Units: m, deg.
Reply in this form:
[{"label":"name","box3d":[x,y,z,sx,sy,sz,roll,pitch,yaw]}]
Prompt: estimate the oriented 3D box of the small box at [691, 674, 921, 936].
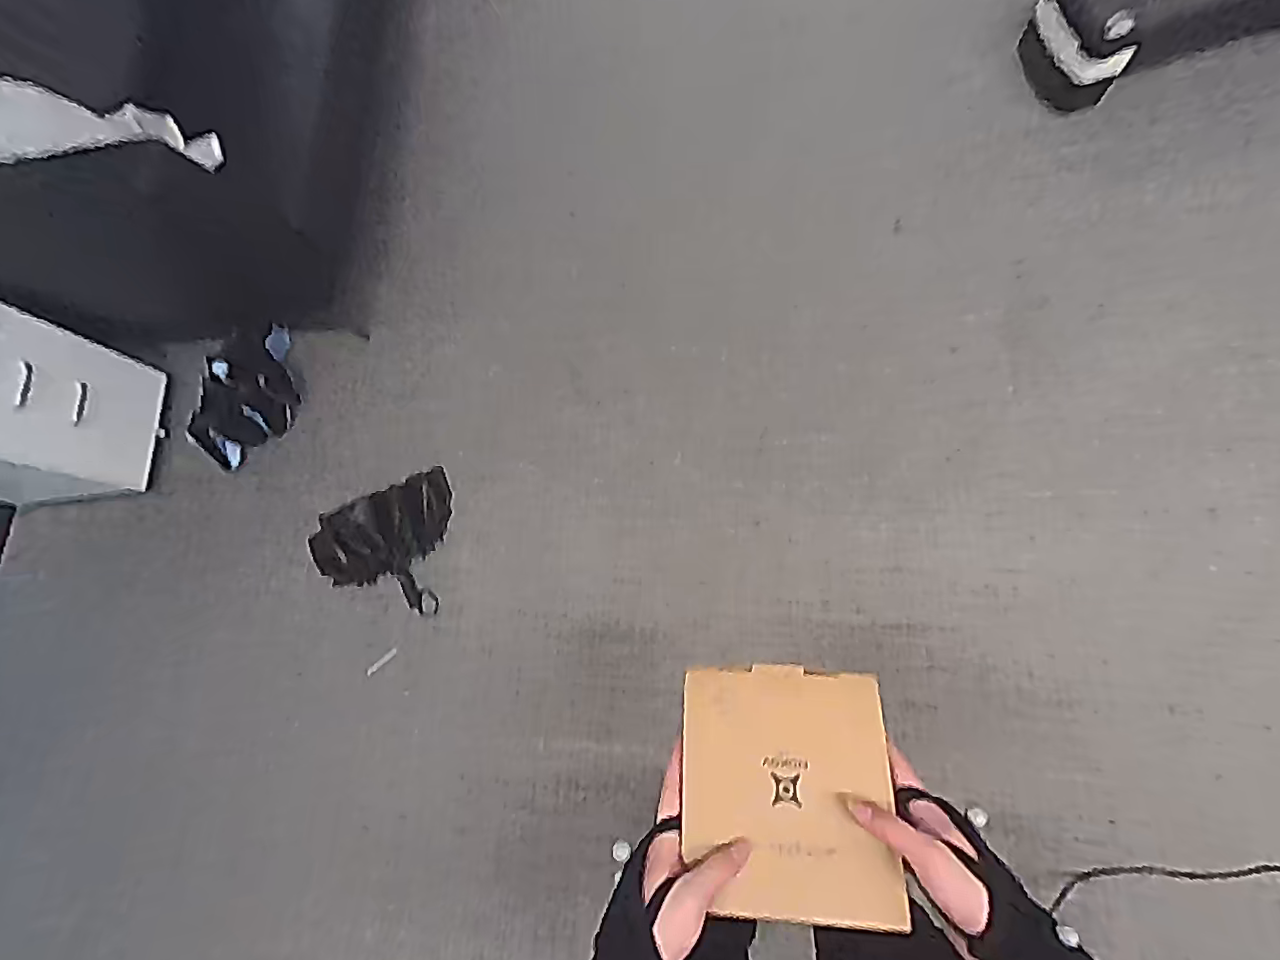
[{"label":"small box","box3d":[0.131,0.286,0.502,0.168,0.176,0.179,-2,62,7]}]
